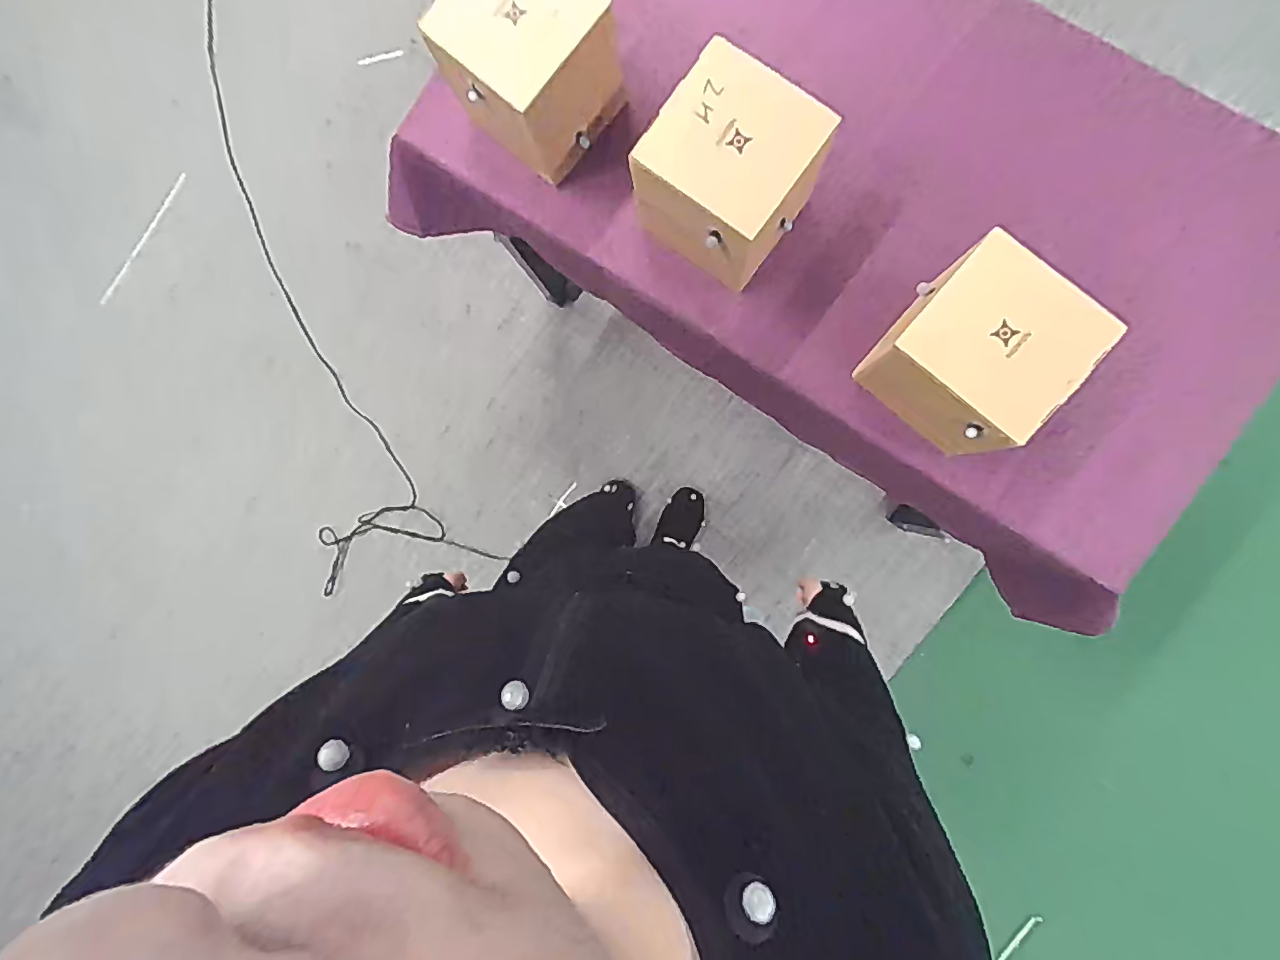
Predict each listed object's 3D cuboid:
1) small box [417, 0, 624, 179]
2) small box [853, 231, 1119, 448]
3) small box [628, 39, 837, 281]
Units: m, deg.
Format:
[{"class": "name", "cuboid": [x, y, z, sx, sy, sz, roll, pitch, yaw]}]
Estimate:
[{"class": "small box", "cuboid": [-0.142, -0.543, 0.706, 0.179, 0.176, 0.168, 42, 94, 3]}, {"class": "small box", "cuboid": [0.394, -0.151, 0.656, 0.179, 0.176, 0.168, 41, 93, 4]}, {"class": "small box", "cuboid": [0.109, -0.379, 0.681, 0.179, 0.176, 0.168, 37, 93, 5]}]
